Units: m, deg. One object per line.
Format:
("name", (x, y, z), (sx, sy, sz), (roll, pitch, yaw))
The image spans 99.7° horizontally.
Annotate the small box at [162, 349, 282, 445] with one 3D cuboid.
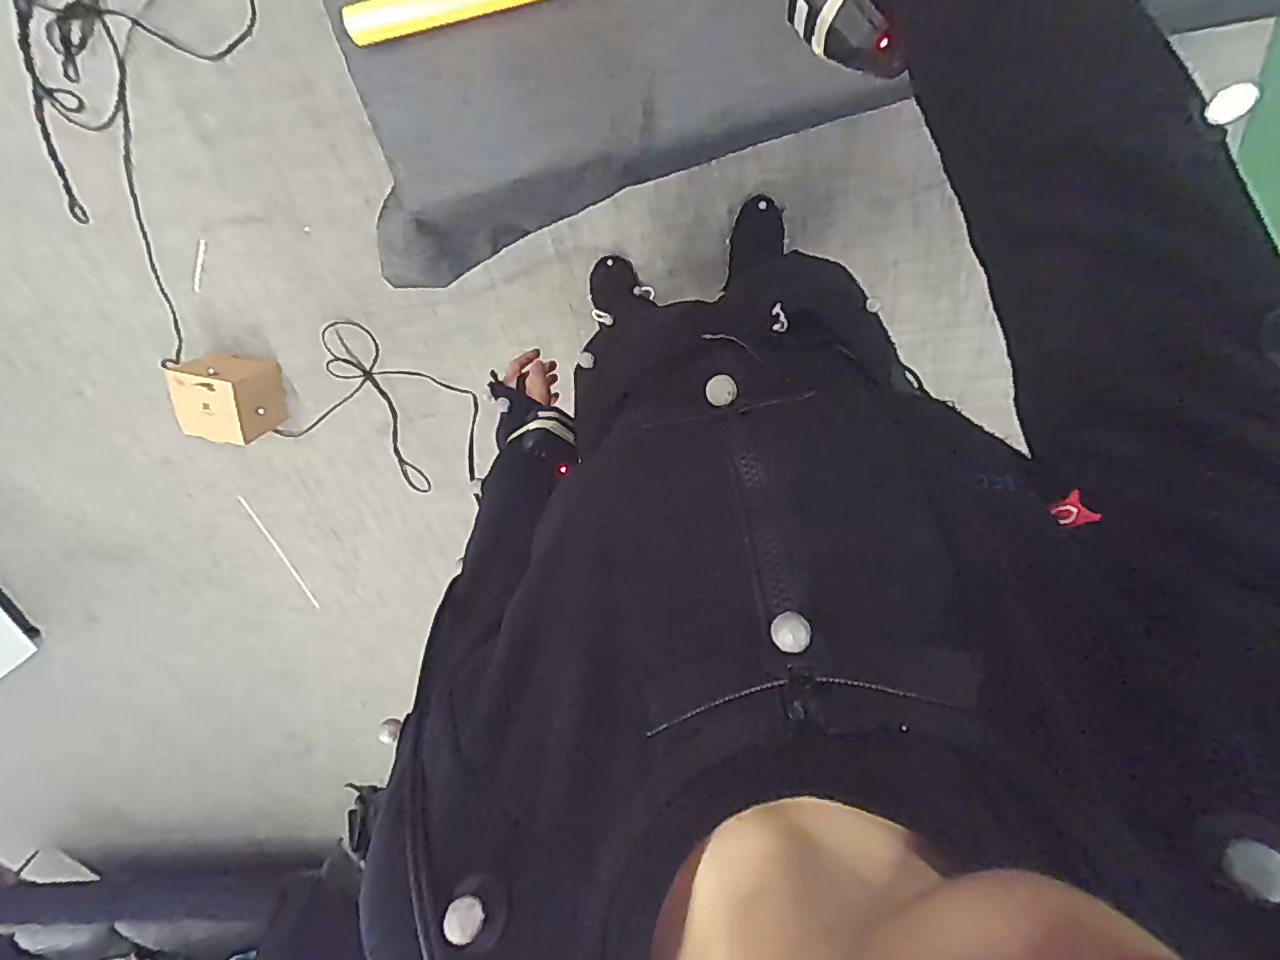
("small box", (-1.058, -0.216, 1.390), (0.168, 0.176, 0.179), (11, 121, 0))
